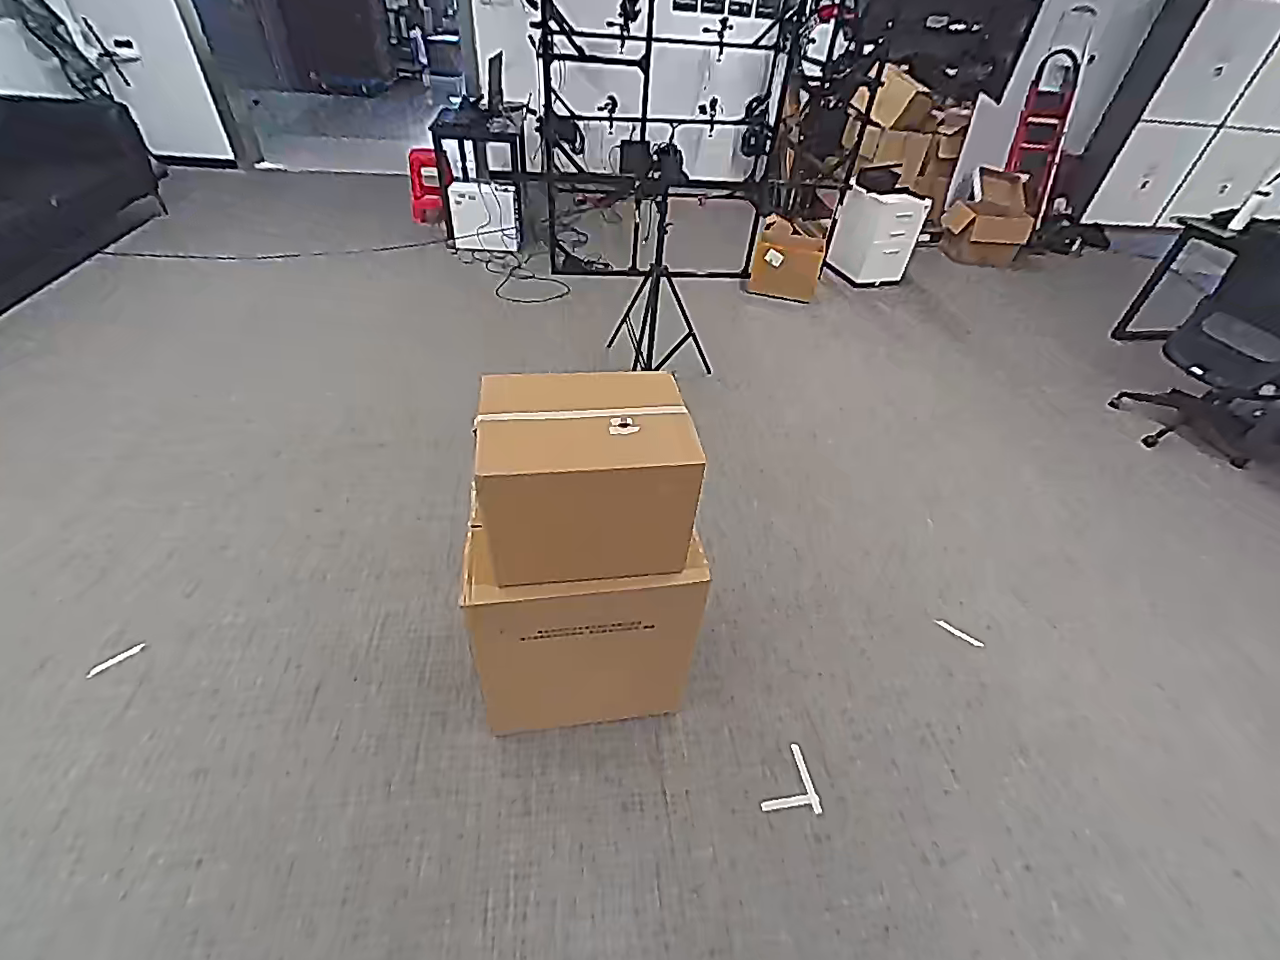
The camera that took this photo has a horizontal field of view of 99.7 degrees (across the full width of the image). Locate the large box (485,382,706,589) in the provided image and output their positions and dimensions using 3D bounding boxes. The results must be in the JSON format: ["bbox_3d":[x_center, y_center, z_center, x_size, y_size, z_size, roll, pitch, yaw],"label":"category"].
[{"bbox_3d":[-0.110,0.006,1.159,0.408,0.320,0.320,-3,43,-10],"label":"large box"}]
